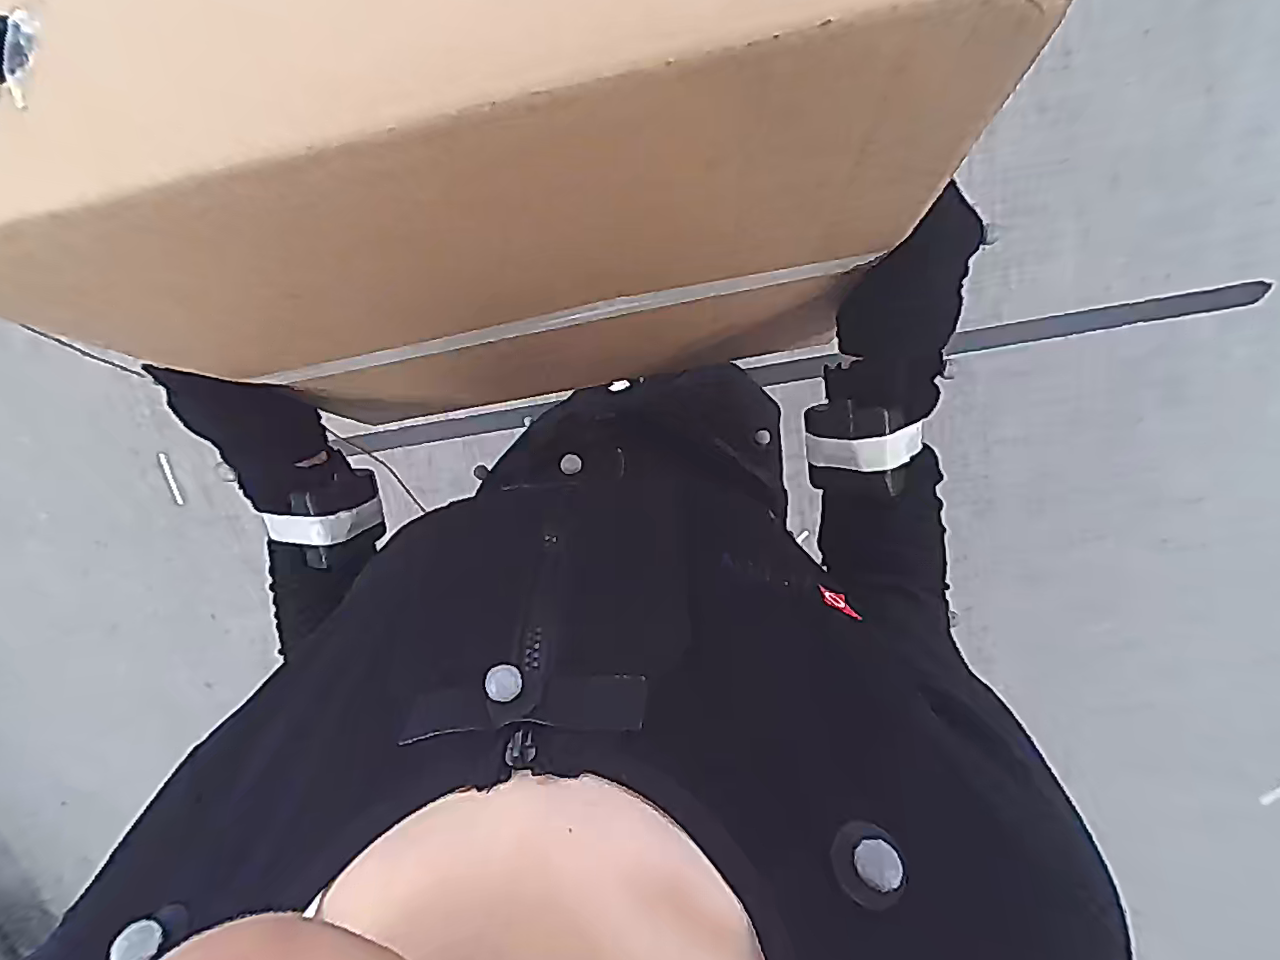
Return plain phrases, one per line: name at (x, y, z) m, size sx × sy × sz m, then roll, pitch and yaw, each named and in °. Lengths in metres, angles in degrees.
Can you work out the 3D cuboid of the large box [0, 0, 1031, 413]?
large box at (-0.079, -0.254, 0.337) m, size 0.408 × 0.320 × 0.320 m, roll -9°, pitch 85°, yaw 5°
